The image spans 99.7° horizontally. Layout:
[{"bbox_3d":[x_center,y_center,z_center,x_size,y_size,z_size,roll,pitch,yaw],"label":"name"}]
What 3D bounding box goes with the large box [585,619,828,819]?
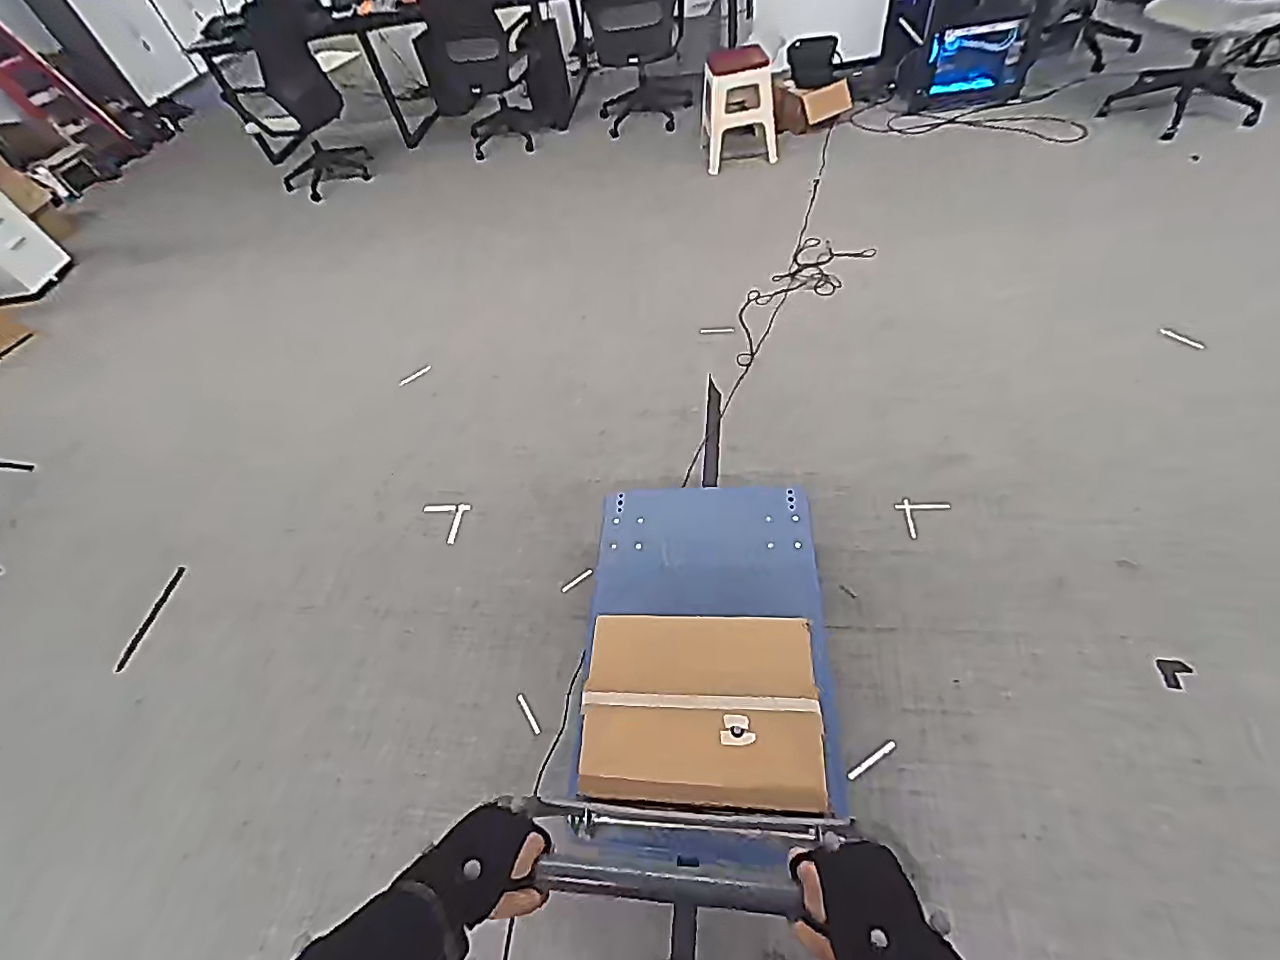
[{"bbox_3d":[0.128,0.482,1.082,0.408,0.320,0.320,-2,56,9],"label":"large box"}]
